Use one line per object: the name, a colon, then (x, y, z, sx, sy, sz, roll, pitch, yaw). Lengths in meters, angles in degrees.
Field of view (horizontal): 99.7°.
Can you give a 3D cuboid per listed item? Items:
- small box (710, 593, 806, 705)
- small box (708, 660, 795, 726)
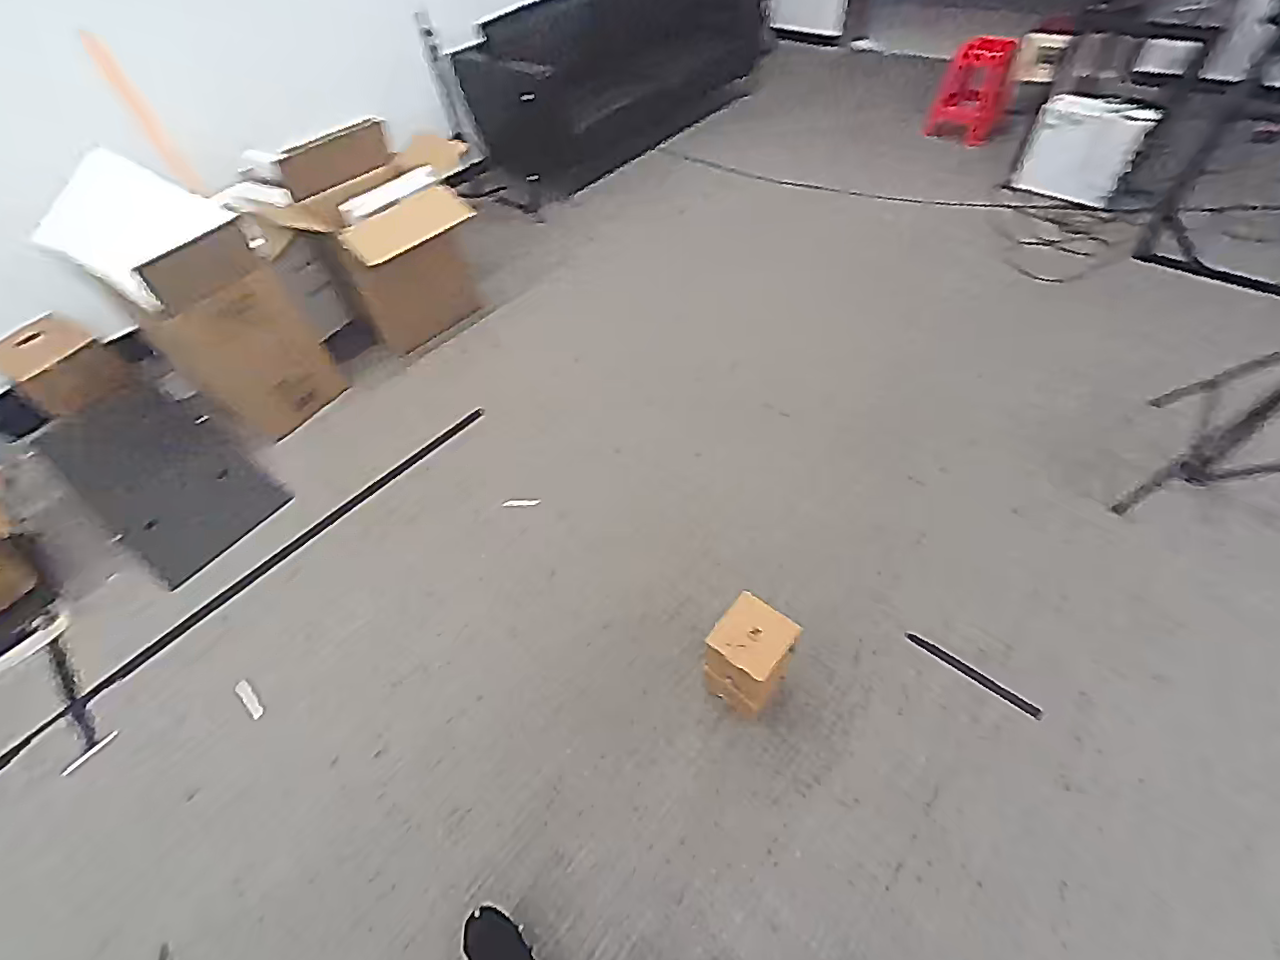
small box: (0.288, 0.424, 1.352, 0.168, 0.176, 0.179, 32, 62, 29)
small box: (0.298, 0.531, 1.477, 0.168, 0.176, 0.179, 33, 62, 29)
